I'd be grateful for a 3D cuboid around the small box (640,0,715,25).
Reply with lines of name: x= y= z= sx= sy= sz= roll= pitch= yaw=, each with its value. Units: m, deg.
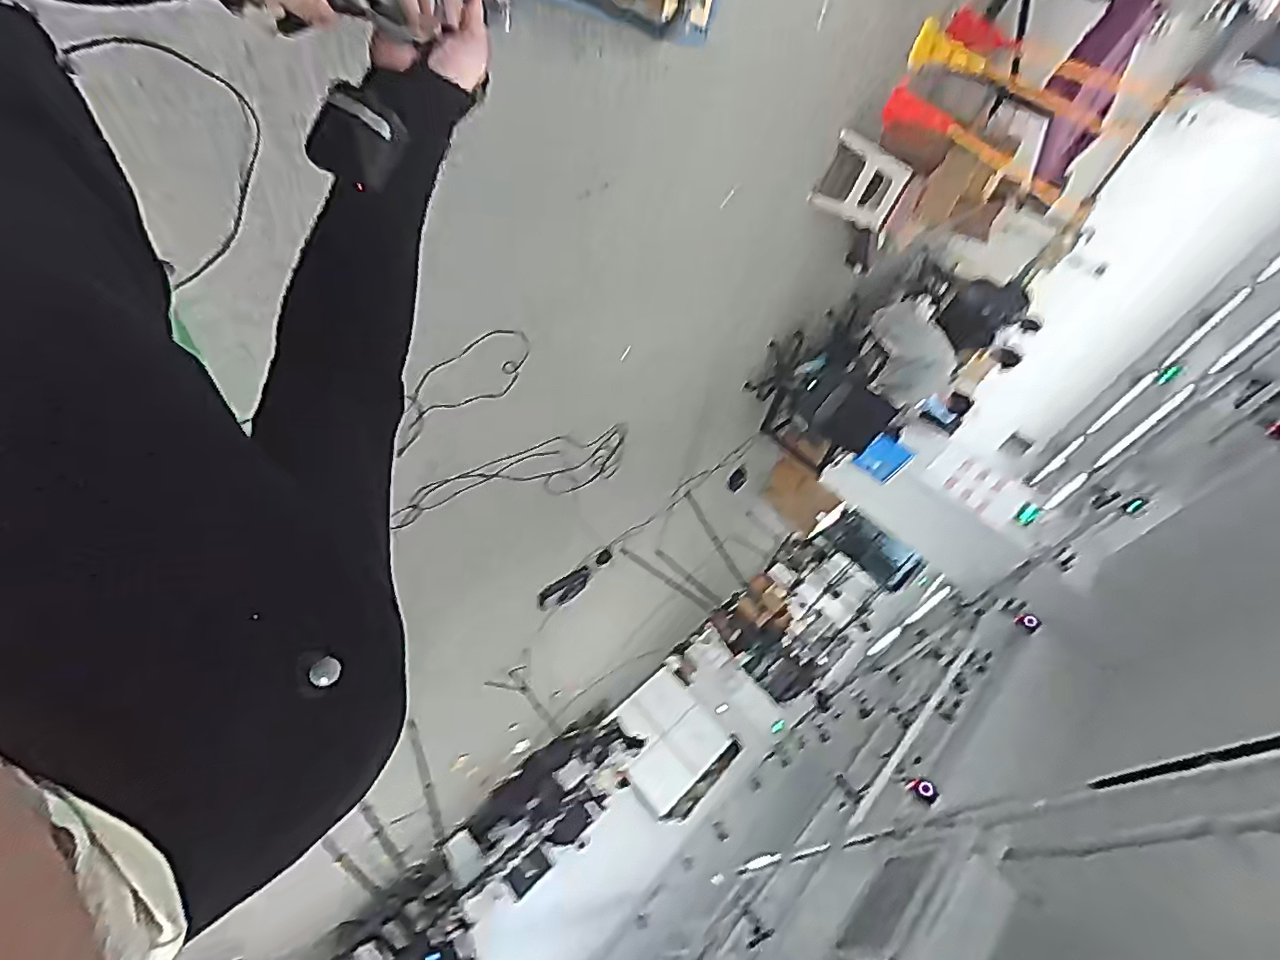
small box: x=0.092 y=-1.307 z=1.383 sx=0.179 sy=0.176 sz=0.168 roll=-24 pitch=148 yaw=-39
